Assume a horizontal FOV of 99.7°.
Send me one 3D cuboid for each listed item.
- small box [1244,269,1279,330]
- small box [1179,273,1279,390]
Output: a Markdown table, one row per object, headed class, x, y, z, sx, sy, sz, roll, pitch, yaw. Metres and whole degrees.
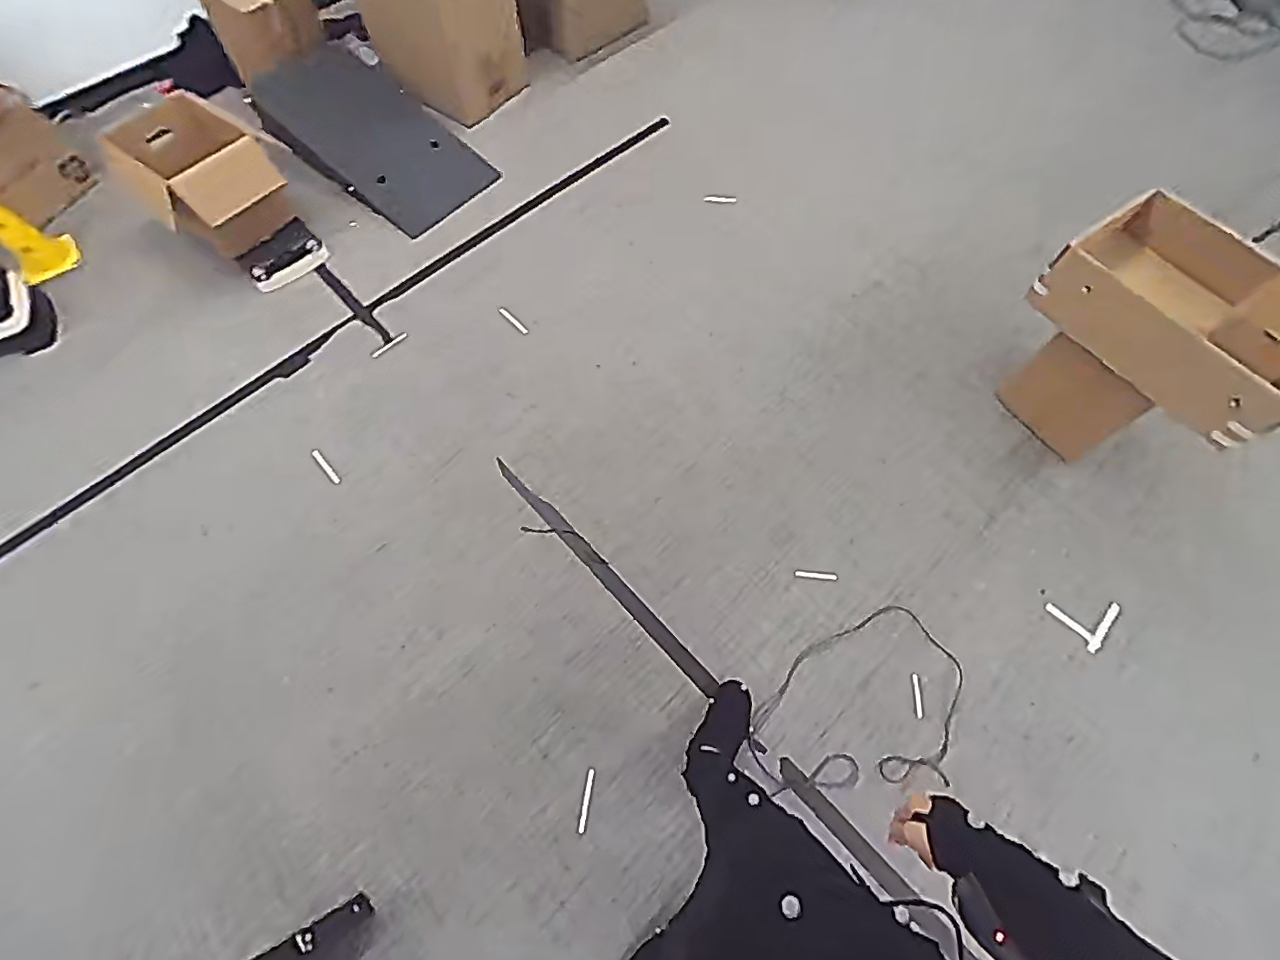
| class | x | y | z | sx | sy | sz | roll | pitch | yaw |
| --- | --- | --- | --- | --- | --- | --- | --- | --- | --- |
| small box | 1.463 | -0.415 | 1.141 | 0.179 | 0.176 | 0.168 | -35 | 70 | -15 |
| small box | 1.462 | -0.346 | 1.288 | 0.179 | 0.176 | 0.168 | -35 | 70 | -16 |
